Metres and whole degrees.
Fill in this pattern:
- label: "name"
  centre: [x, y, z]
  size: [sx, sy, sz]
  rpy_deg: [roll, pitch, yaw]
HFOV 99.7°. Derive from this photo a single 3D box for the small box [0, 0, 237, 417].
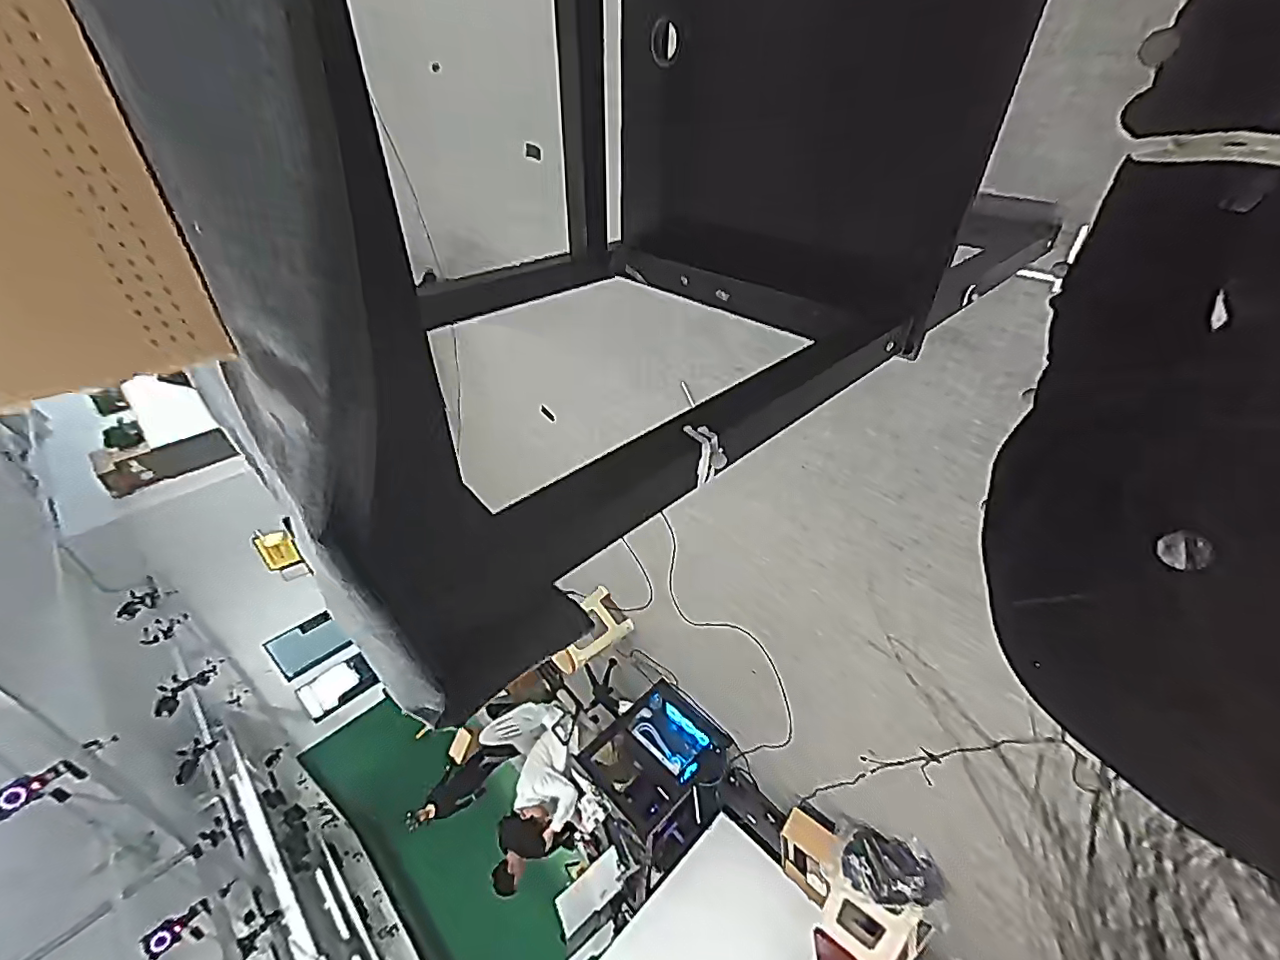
- label: "small box"
  centre: [-0.306, -0.128, 0.215]
  size: [0.168, 0.176, 0.179]
  rpy_deg: [31, 137, 39]
